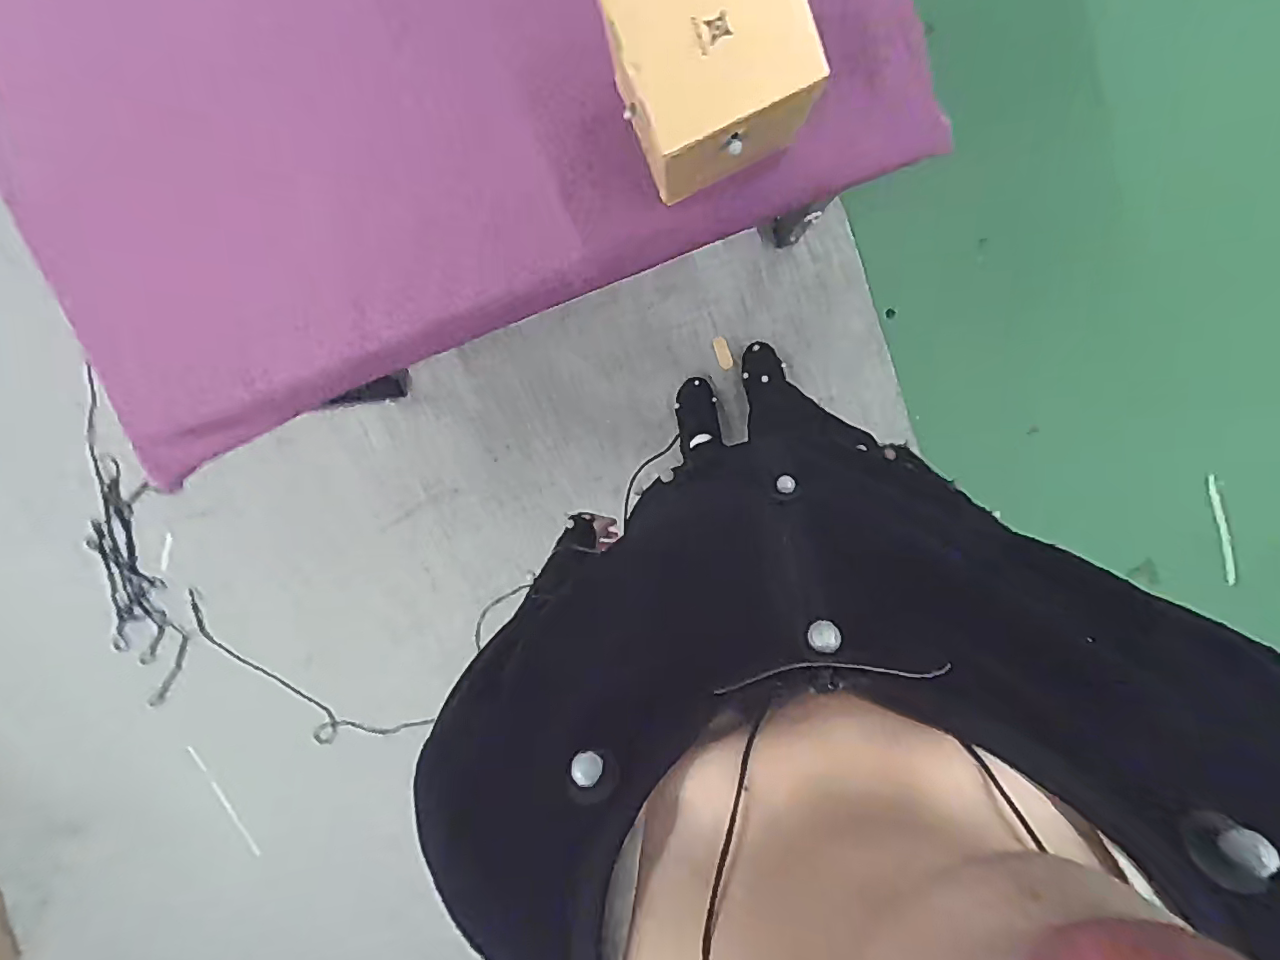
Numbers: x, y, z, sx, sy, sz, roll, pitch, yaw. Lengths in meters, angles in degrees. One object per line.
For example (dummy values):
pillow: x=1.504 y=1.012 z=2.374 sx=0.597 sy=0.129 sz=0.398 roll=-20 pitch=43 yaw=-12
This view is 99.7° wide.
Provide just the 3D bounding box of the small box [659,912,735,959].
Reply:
small box: x=0.161 y=1.341 z=1.476 sx=0.168 sy=0.176 sz=0.179 roll=-24 pitch=98 yaw=9

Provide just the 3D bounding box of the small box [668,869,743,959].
small box: x=0.192 y=1.330 z=1.637 sx=0.179 sy=0.176 sz=0.168 roll=-28 pitch=96 yaw=11

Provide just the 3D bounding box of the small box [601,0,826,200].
small box: x=0.076 y=-0.444 z=0.594 sx=0.179 sy=0.176 sz=0.168 roll=-22 pitch=100 yaw=10
